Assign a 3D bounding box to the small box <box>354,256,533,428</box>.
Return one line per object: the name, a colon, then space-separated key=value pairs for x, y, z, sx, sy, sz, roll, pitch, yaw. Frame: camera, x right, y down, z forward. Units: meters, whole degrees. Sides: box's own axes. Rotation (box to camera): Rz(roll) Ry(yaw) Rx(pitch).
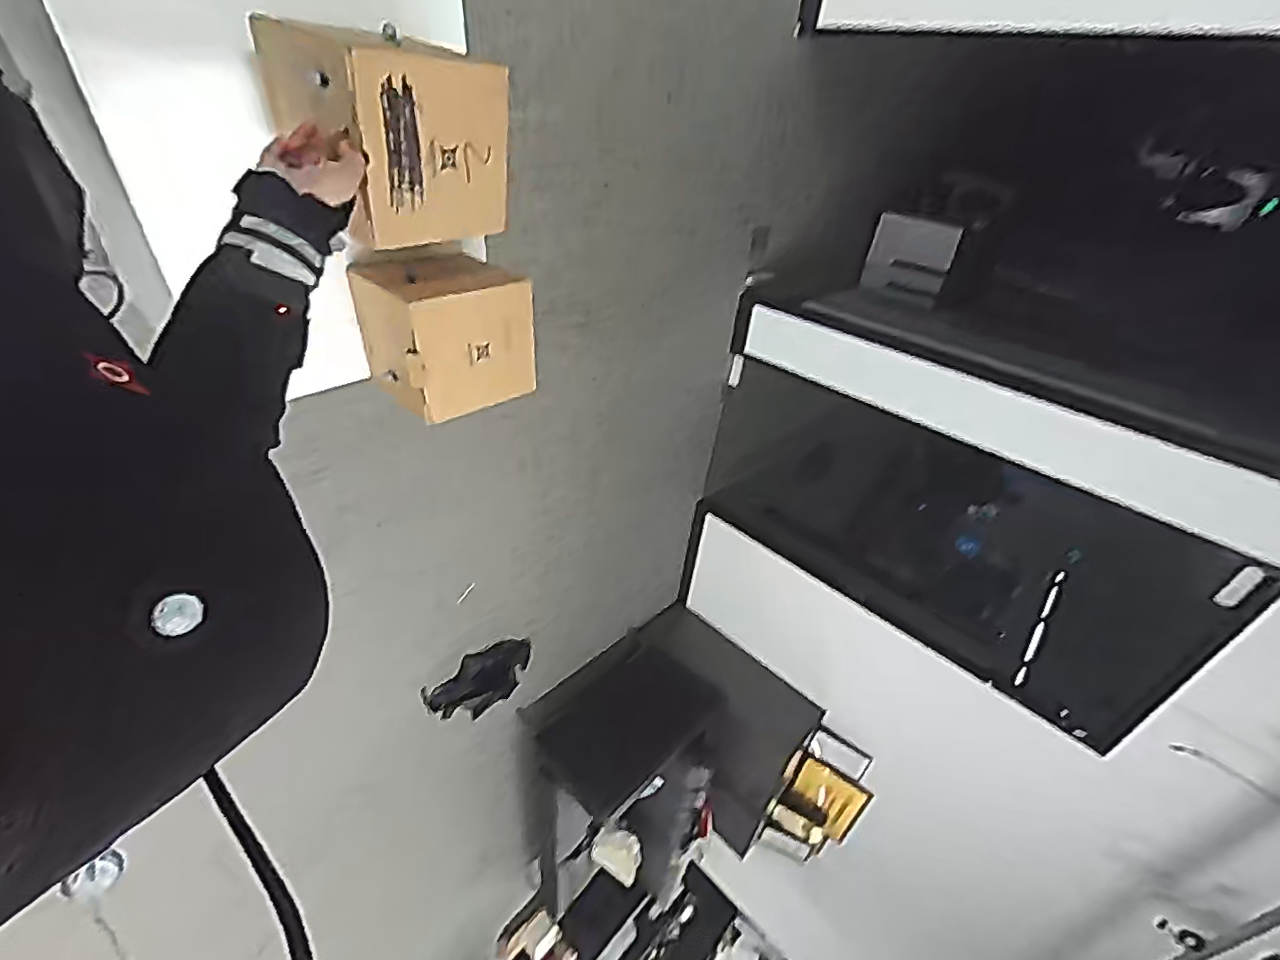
small box: x=-0.273 y=-0.201 z=0.757 sx=0.179 sy=0.176 sz=0.168 roll=-31 pitch=140 yaw=-38
